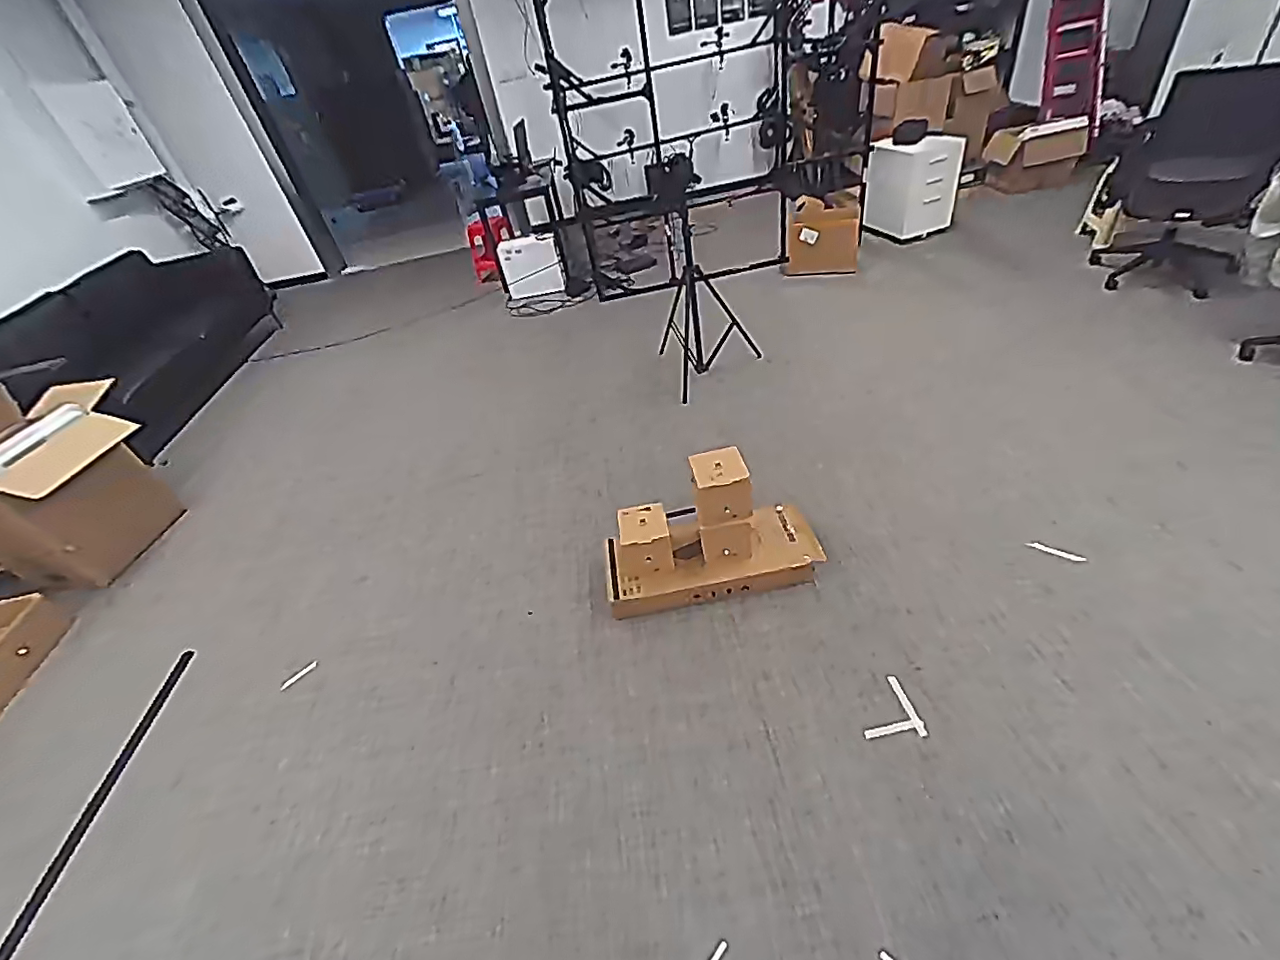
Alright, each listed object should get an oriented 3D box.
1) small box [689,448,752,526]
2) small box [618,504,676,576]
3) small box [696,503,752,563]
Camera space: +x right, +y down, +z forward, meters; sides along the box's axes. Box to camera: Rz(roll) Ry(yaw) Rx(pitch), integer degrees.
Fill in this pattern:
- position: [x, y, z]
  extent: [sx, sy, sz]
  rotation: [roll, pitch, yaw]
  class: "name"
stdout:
- position: [0.264, 0.025, 1.773]
  extent: [0.168, 0.176, 0.179]
  rotation: [-12, 39, 1]
  class: "small box"
- position: [0.024, 0.213, 1.869]
  extent: [0.168, 0.176, 0.179]
  rotation: [-11, 40, 2]
  class: "small box"
- position: [0.288, 0.161, 1.865]
  extent: [0.168, 0.176, 0.179]
  rotation: [-10, 39, 4]
  class: "small box"
